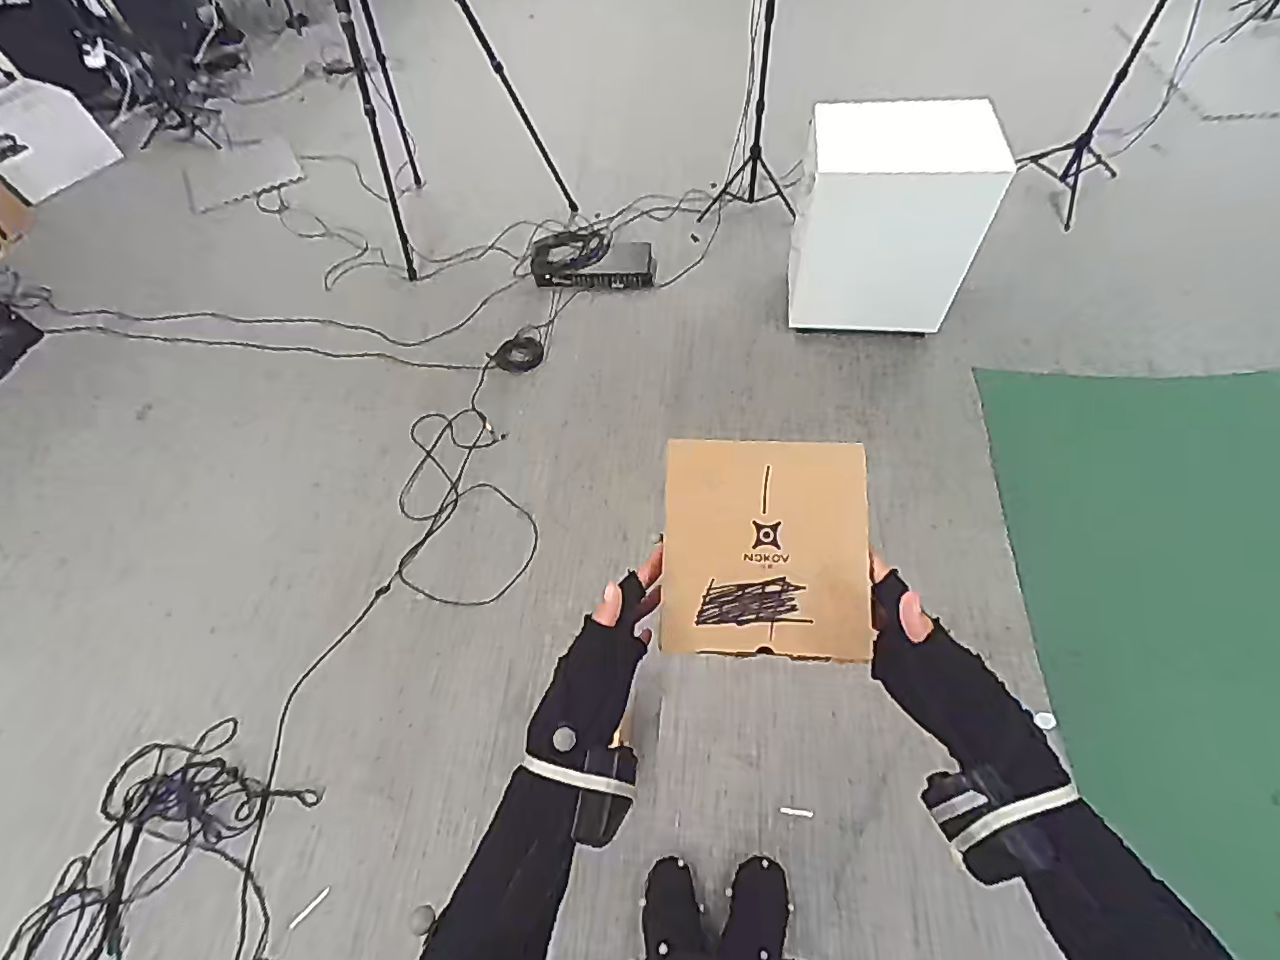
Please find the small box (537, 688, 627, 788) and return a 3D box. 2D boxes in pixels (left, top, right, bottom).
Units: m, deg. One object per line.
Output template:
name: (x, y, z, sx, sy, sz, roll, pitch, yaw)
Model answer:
small box: (-0.125, 0.600, 1.254, 0.168, 0.176, 0.179, 3, 57, 8)
